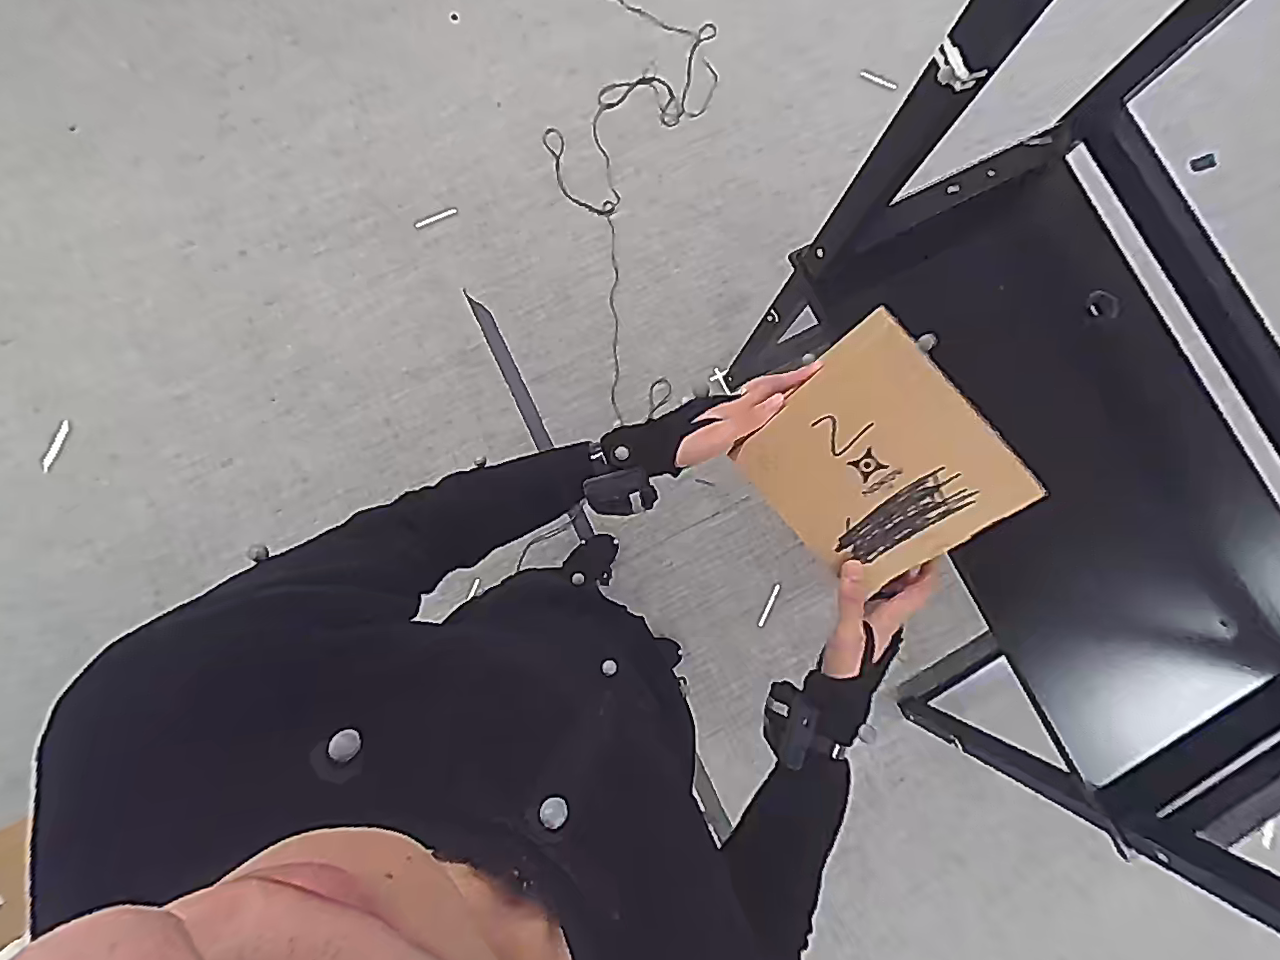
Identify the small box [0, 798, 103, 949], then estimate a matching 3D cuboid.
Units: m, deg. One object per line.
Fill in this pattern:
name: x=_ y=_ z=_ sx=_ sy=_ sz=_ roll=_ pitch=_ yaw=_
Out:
small box: x=-1.057 y=0.668 z=0.877 sx=0.179 sy=0.176 sz=0.168 roll=-29 pitch=87 yaw=-5
